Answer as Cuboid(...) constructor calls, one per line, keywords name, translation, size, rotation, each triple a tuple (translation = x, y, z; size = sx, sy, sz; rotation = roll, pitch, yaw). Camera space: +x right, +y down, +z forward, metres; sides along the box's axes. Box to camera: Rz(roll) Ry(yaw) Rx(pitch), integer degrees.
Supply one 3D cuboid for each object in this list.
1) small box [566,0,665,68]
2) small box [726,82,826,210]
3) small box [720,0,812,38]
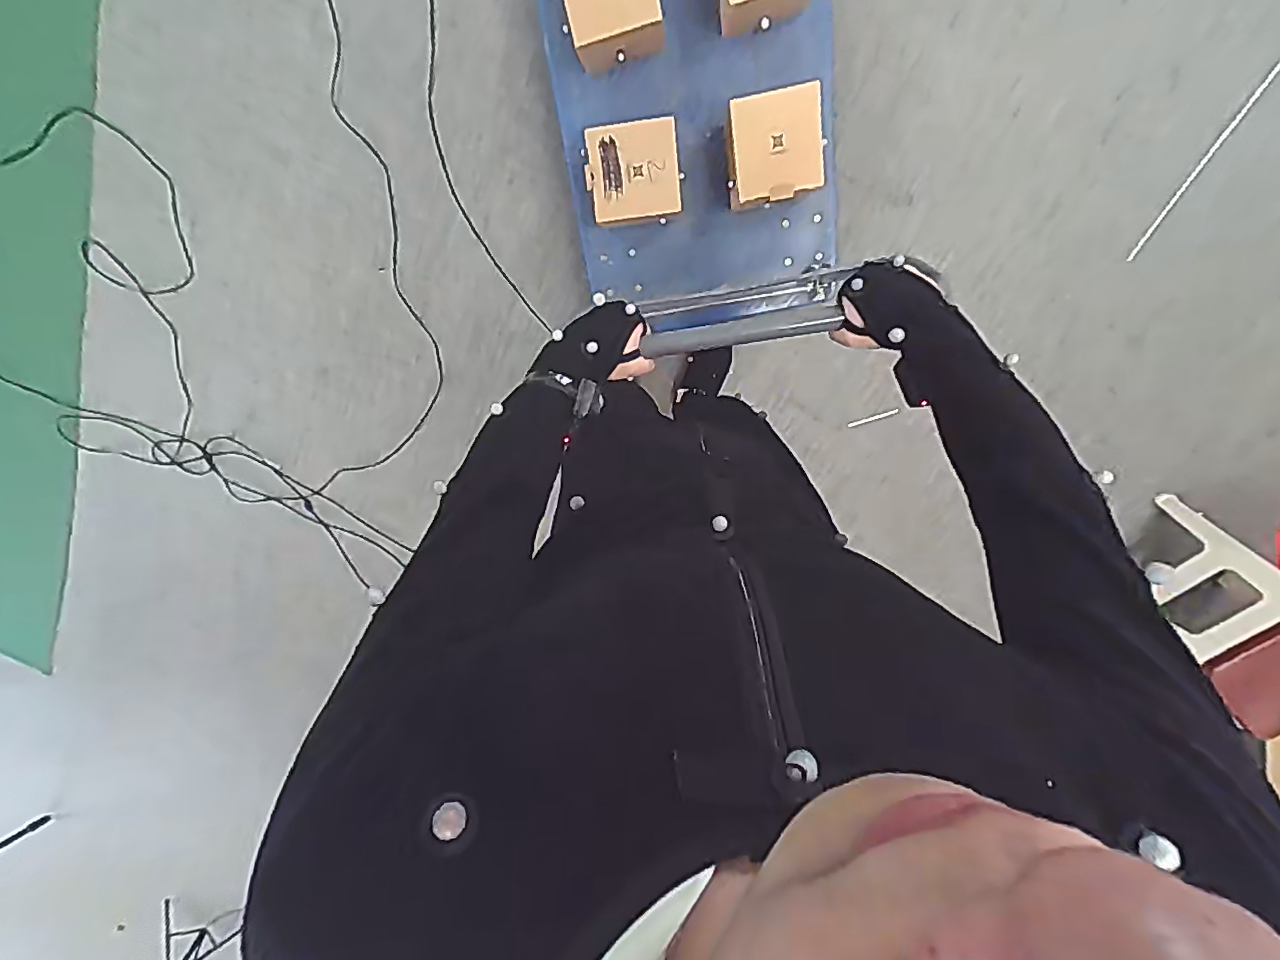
Cuboid(name="small box", translation=(-0.050, -0.907, 1.010), size=(0.168, 0.176, 0.179), rotation=(-11, 111, 8))
Cuboid(name="small box", translation=(0.268, -0.660, 1.090), size=(0.168, 0.176, 0.179), rotation=(-8, 112, 7))
Cuboid(name="small box", translation=(0.224, -0.950, 0.973), size=(0.168, 0.176, 0.179), rotation=(-11, 112, 9))
